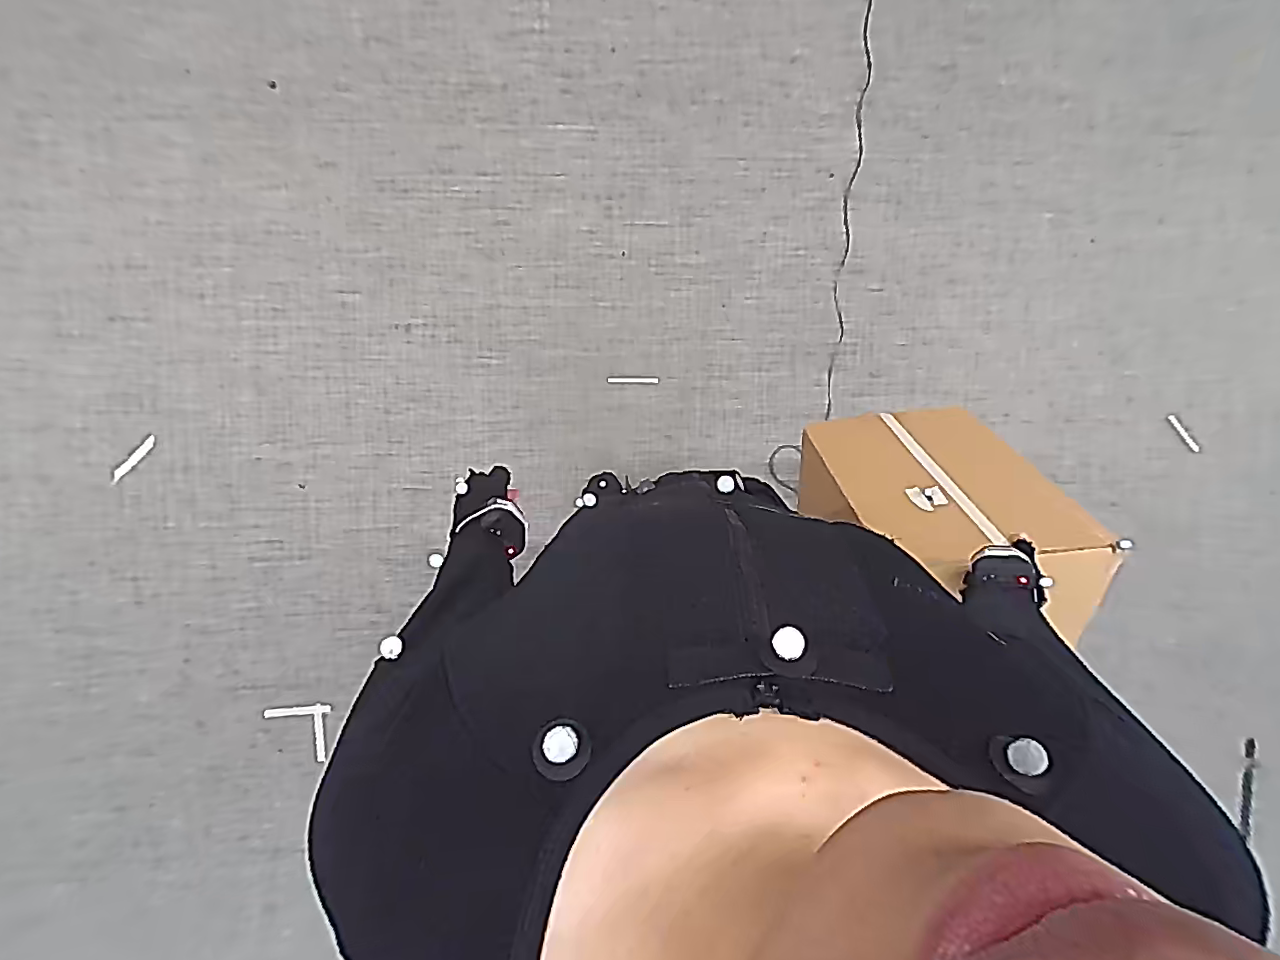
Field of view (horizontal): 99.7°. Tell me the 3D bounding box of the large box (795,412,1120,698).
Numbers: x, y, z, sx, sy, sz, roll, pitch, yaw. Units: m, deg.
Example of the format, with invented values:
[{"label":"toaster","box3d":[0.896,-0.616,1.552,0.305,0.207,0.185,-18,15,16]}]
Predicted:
[{"label":"large box","box3d":[0.500,0.118,0.977,0.320,0.408,0.320,-7,126,1]}]
